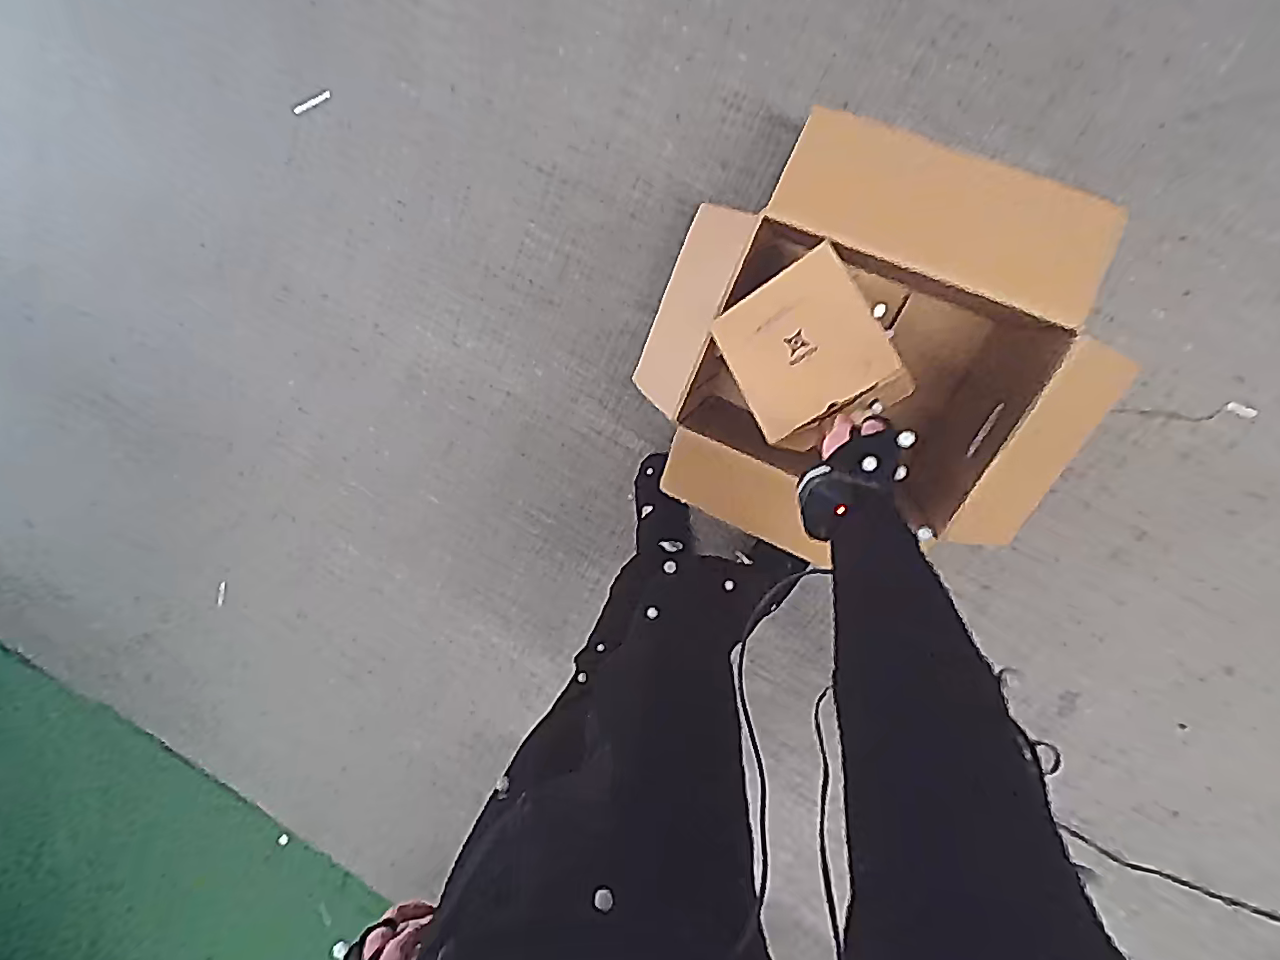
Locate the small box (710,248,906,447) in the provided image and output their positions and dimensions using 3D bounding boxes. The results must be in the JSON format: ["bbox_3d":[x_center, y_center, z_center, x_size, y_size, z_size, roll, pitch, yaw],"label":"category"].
[{"bbox_3d":[0.224,-0.154,0.702,0.168,0.176,0.179,-32,74,25],"label":"small box"}]
